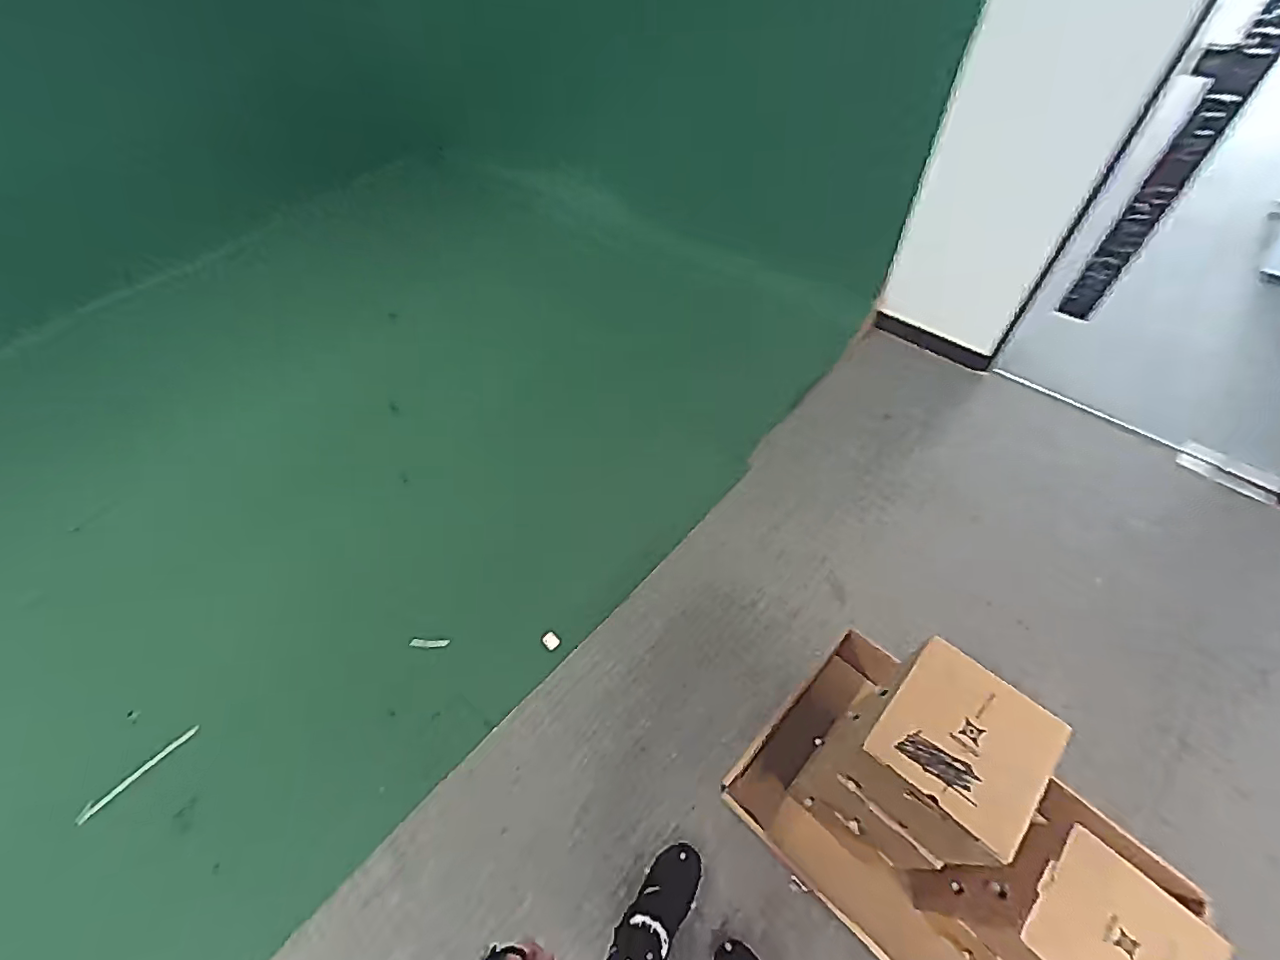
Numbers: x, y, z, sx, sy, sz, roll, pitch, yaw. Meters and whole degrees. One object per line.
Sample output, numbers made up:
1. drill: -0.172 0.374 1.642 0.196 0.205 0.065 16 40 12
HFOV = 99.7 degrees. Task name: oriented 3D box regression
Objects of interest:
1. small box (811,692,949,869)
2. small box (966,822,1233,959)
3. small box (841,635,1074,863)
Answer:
1. small box: 0.379 0.431 0.802 0.168 0.176 0.179 38 66 25
2. small box: 0.564 0.579 0.692 0.168 0.176 0.179 -40 63 -20
3. small box: 0.373 0.333 0.670 0.168 0.176 0.179 37 65 24
